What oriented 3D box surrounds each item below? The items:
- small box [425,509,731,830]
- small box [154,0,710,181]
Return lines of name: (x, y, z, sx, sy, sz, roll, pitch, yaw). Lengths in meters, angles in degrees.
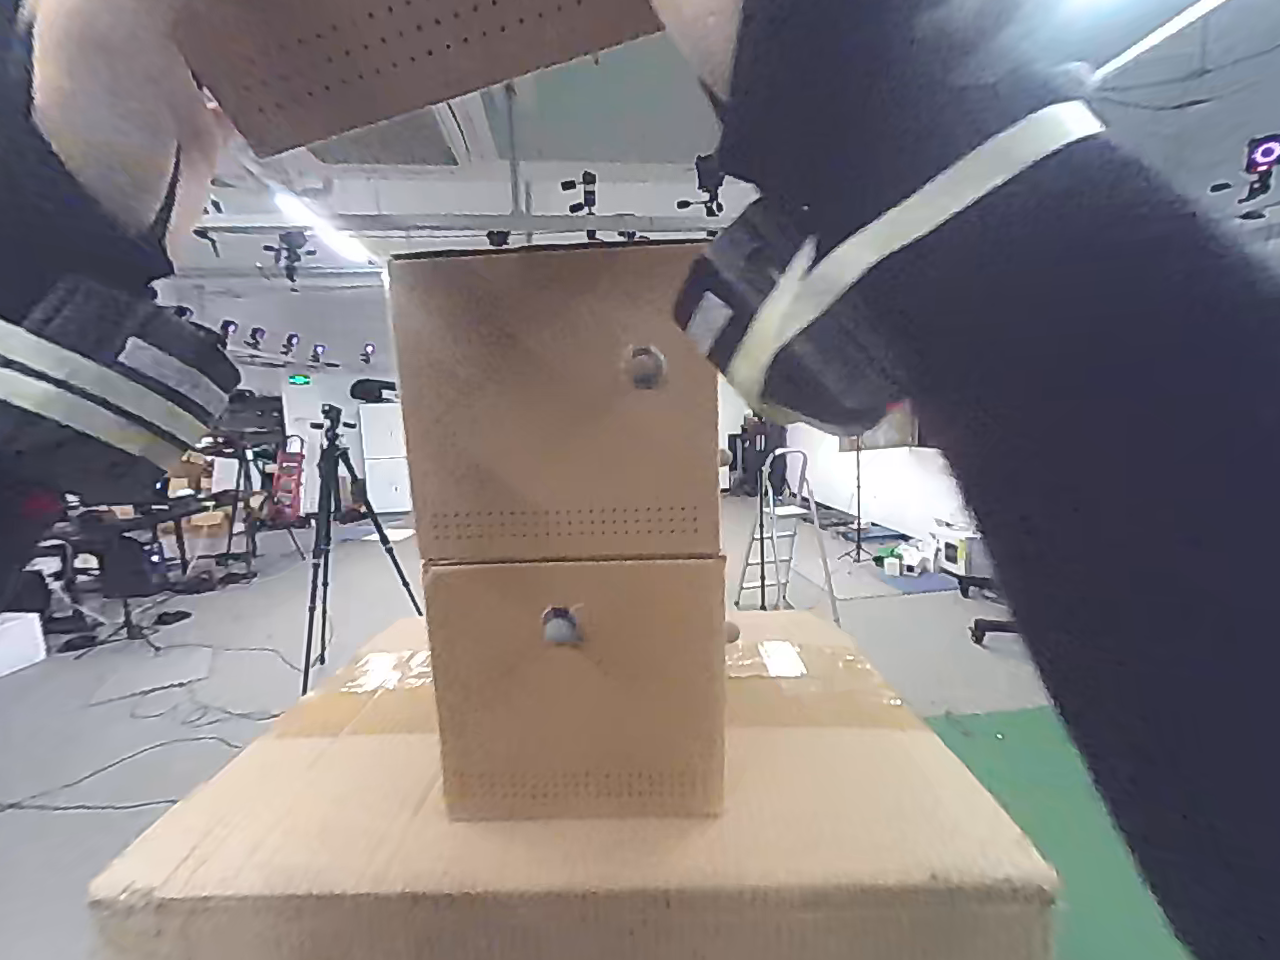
small box: (-0.031, 0.123, 0.396, 0.179, 0.176, 0.168, -2, 9, 2)
small box: (-0.073, -0.235, 0.187, 0.179, 0.176, 0.168, -10, 47, 8)
